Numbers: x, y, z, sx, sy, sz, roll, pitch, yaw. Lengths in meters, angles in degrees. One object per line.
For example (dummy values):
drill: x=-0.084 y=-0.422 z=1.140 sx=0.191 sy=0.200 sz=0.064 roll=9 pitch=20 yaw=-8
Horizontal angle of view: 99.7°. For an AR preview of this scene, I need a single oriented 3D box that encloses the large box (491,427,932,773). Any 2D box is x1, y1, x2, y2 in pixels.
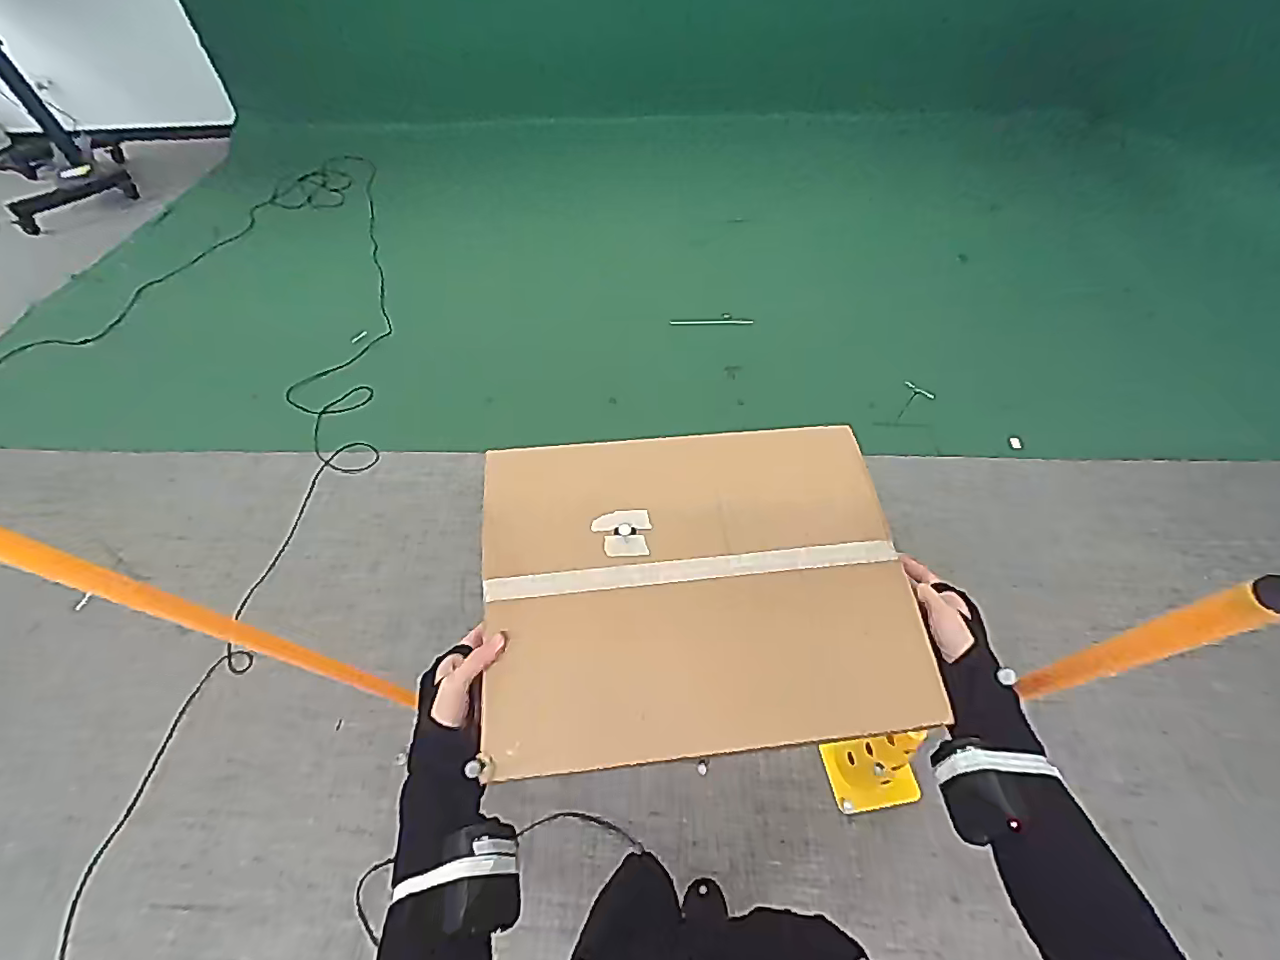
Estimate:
large box: x=0.050 y=0.161 z=0.672 sx=0.408 sy=0.320 sz=0.320 roll=-5 pitch=62 yaw=-4
